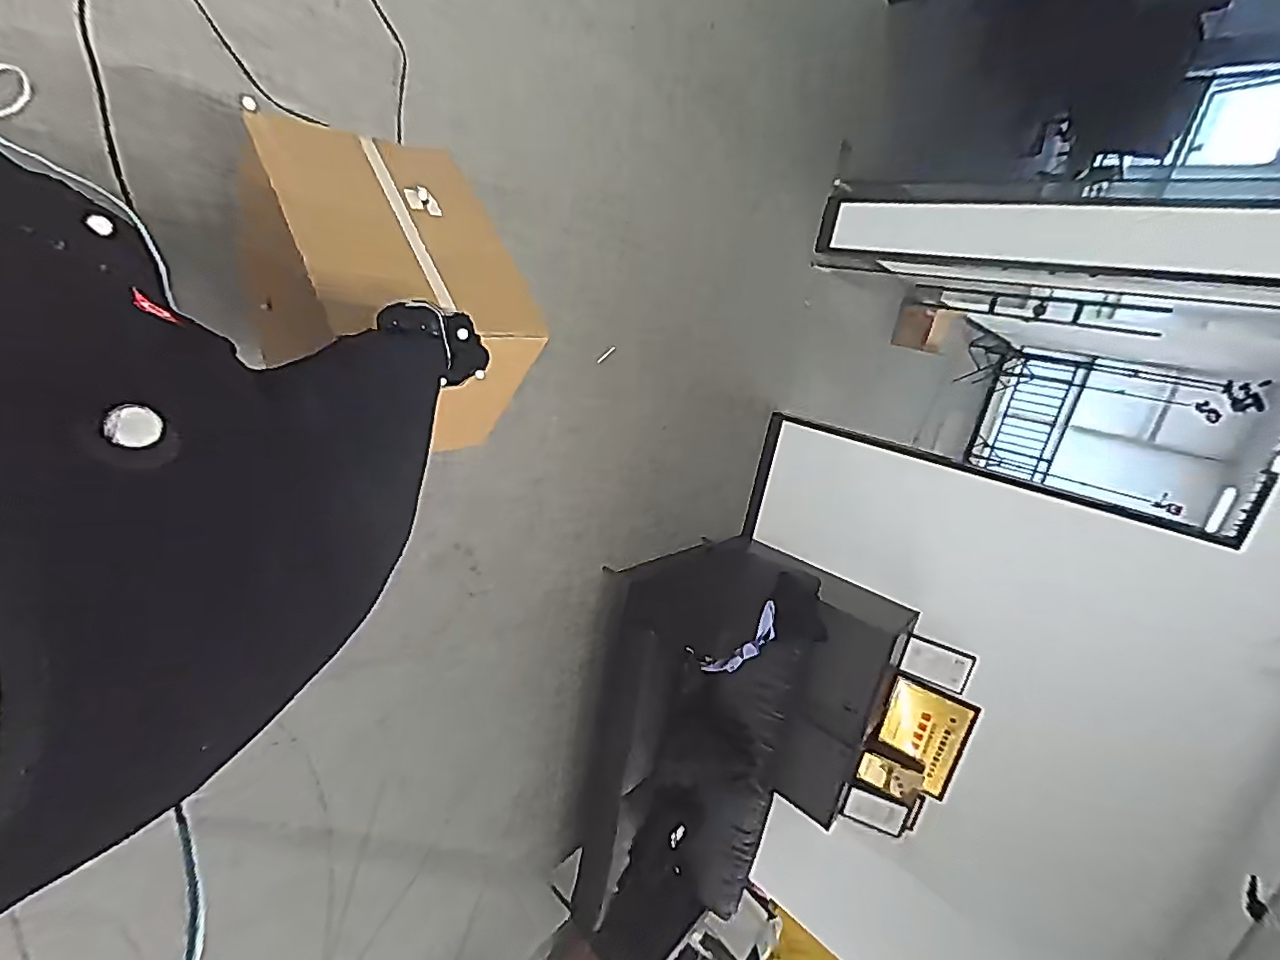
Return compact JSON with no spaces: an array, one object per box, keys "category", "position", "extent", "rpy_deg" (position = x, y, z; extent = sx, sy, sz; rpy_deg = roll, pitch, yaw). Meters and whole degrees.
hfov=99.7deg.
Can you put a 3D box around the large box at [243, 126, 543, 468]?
[{"category":"large box","position":[-0.429,-0.284,0.910],"extent":[0.320,0.408,0.320],"rpy_deg":[-14,158,-44]}]
